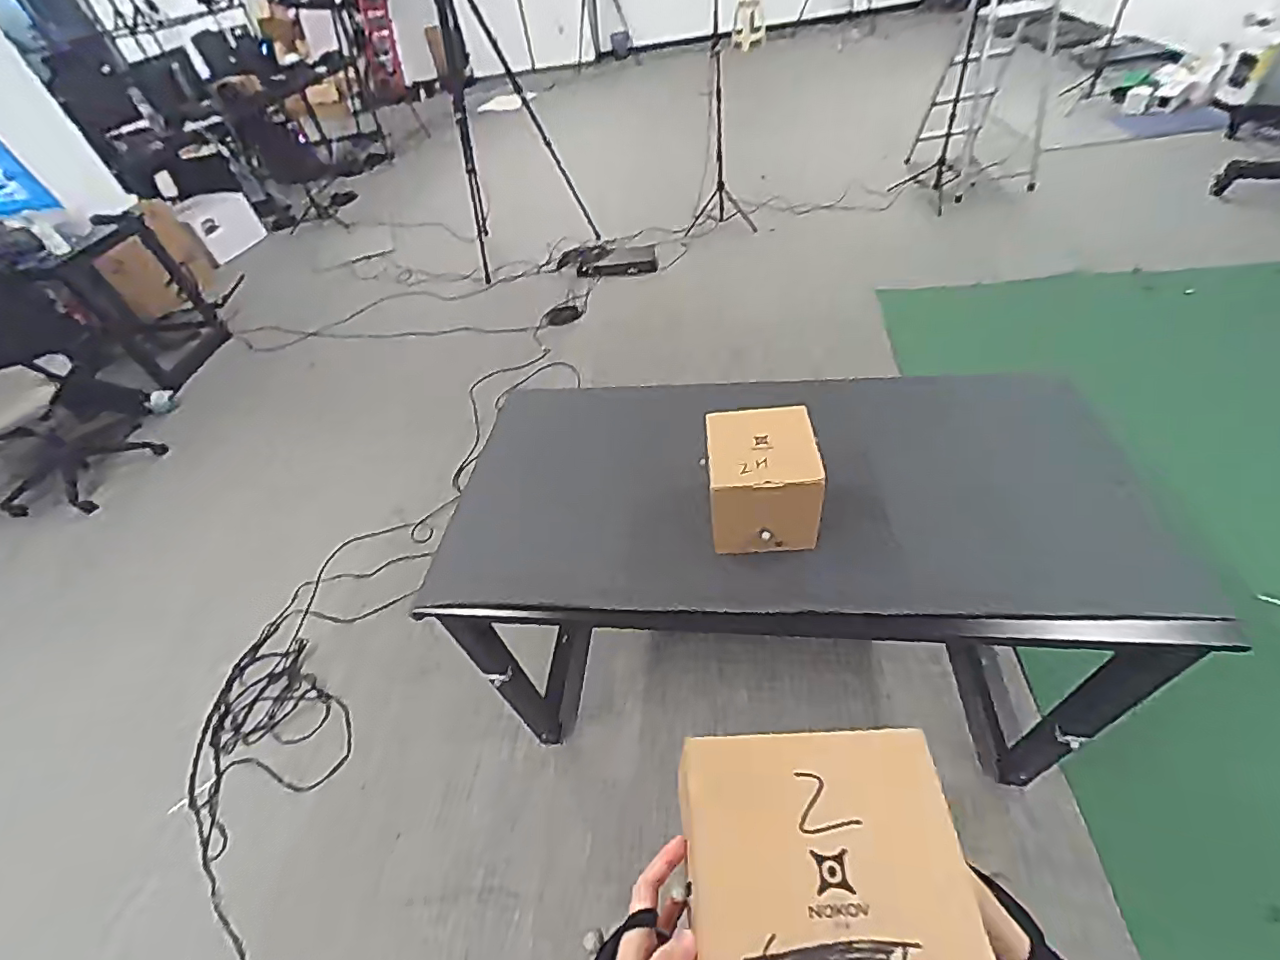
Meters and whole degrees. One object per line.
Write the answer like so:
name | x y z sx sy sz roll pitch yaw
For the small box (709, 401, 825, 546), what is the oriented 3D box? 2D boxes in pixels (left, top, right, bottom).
small box | 0.200 -0.009 0.898 0.168 0.176 0.179 -4 46 8
